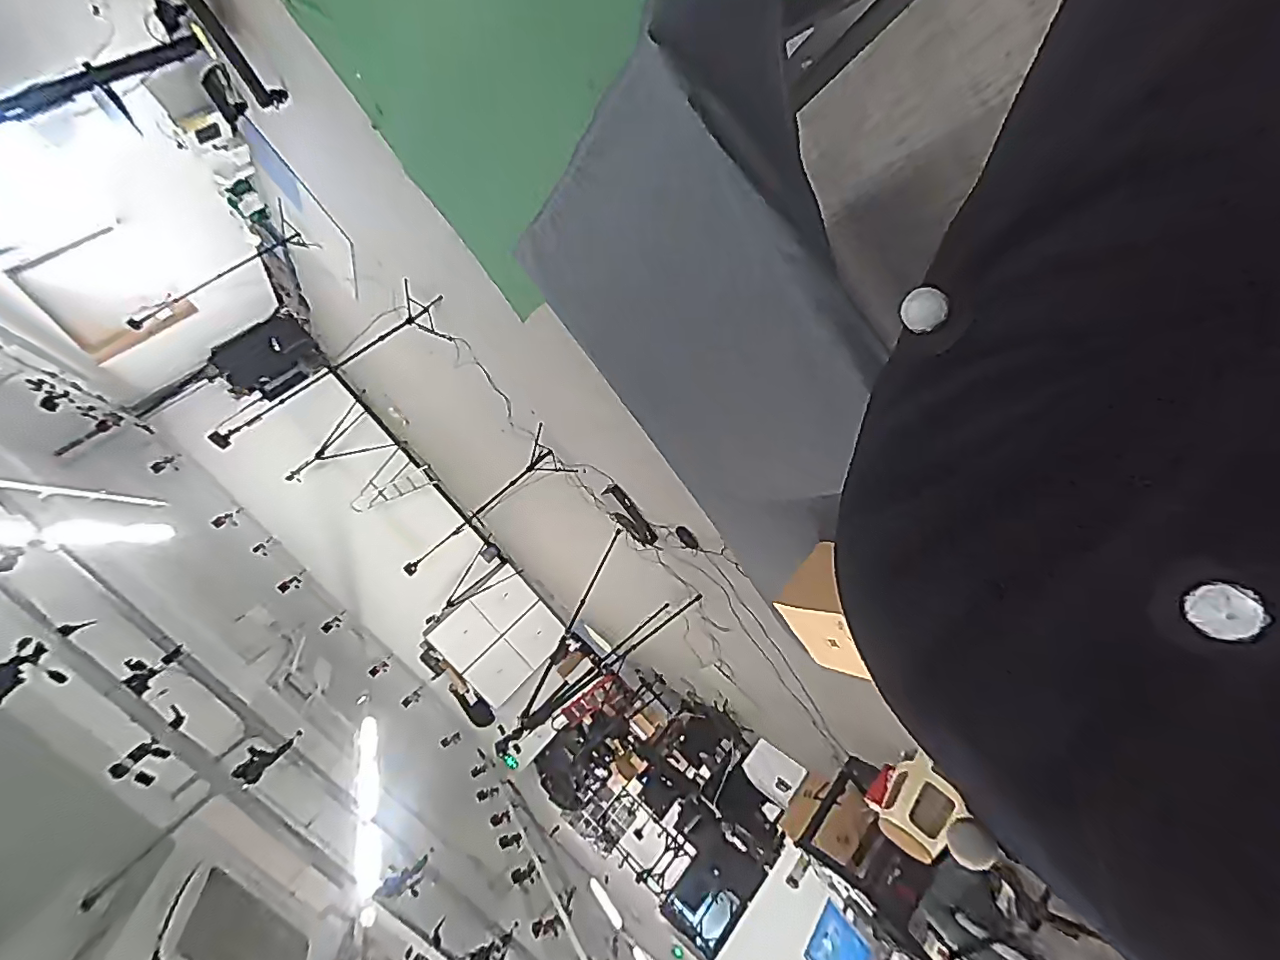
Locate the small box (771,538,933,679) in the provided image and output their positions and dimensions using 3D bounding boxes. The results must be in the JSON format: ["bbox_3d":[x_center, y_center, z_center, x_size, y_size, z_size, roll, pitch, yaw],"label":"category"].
[{"bbox_3d":[0.378,0.218,0.968,0.168,0.176,0.179,52,157,-13],"label":"small box"}]
